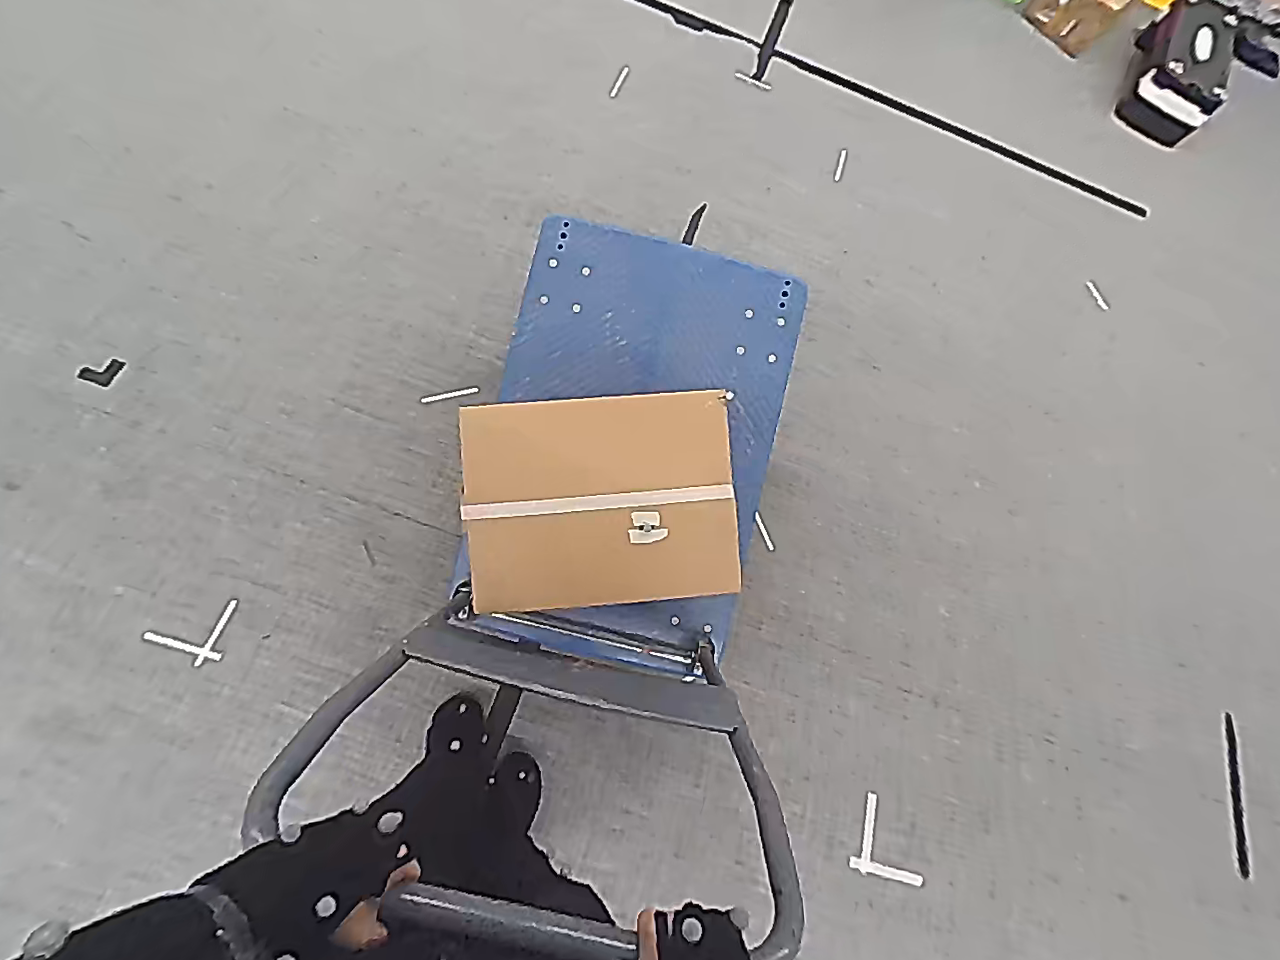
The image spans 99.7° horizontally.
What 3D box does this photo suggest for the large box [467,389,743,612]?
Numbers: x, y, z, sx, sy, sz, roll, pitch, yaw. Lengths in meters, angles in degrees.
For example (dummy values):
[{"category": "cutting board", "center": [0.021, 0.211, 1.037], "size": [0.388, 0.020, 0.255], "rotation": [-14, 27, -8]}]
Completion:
[{"category": "large box", "center": [-0.061, 0.032, 0.969], "size": [0.408, 0.320, 0.320], "rotation": [-4, 90, -4]}]
